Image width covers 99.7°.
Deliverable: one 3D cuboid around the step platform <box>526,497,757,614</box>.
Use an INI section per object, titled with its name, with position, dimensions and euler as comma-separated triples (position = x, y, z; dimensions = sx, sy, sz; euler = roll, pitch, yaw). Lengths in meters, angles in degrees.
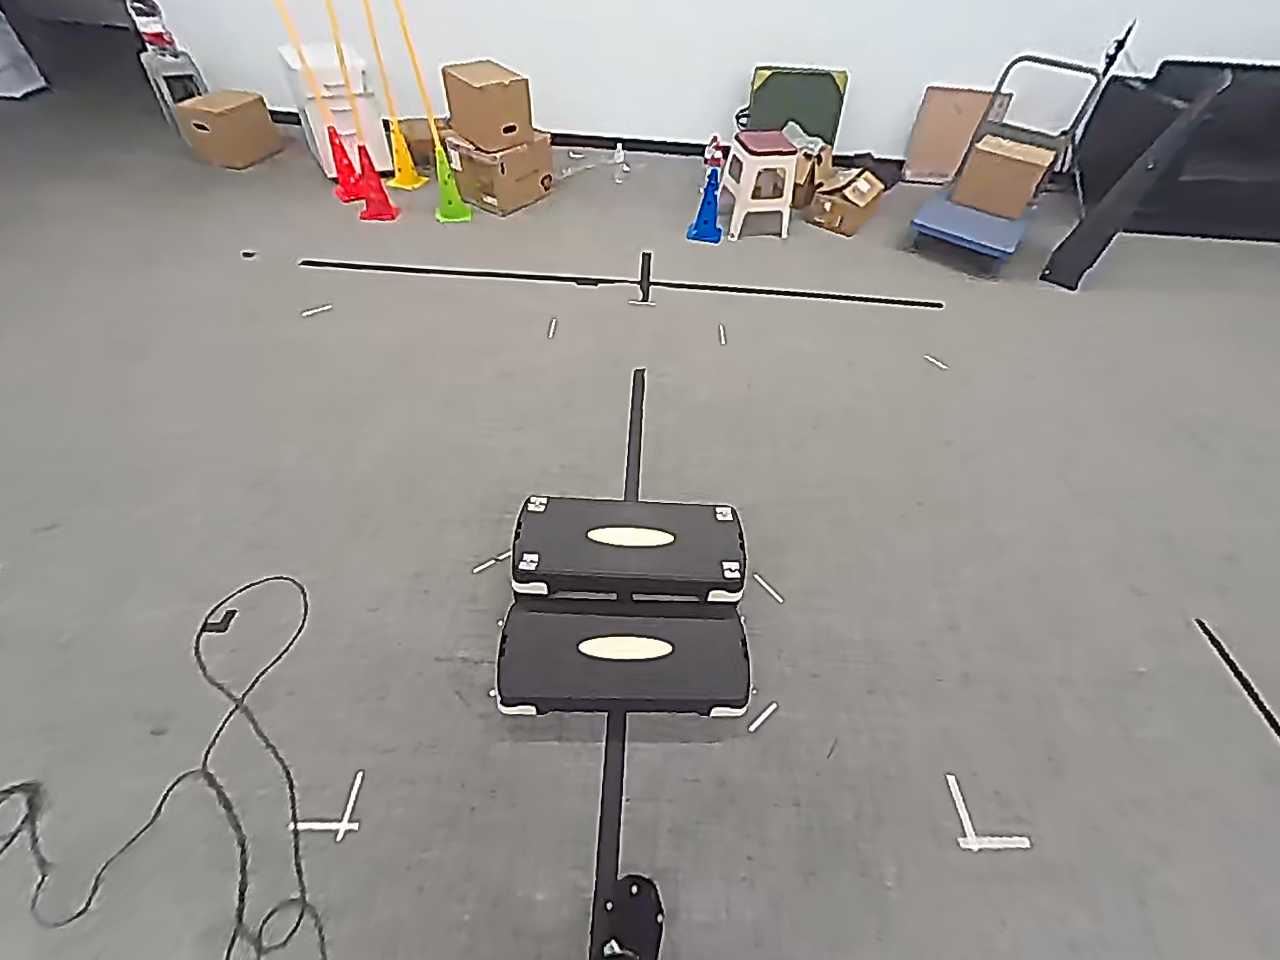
[step platform]
position = 0.003, 0.223, 1.635
dimensions = 0.684, 0.204, 0.286
euler = 3, 49, -3
